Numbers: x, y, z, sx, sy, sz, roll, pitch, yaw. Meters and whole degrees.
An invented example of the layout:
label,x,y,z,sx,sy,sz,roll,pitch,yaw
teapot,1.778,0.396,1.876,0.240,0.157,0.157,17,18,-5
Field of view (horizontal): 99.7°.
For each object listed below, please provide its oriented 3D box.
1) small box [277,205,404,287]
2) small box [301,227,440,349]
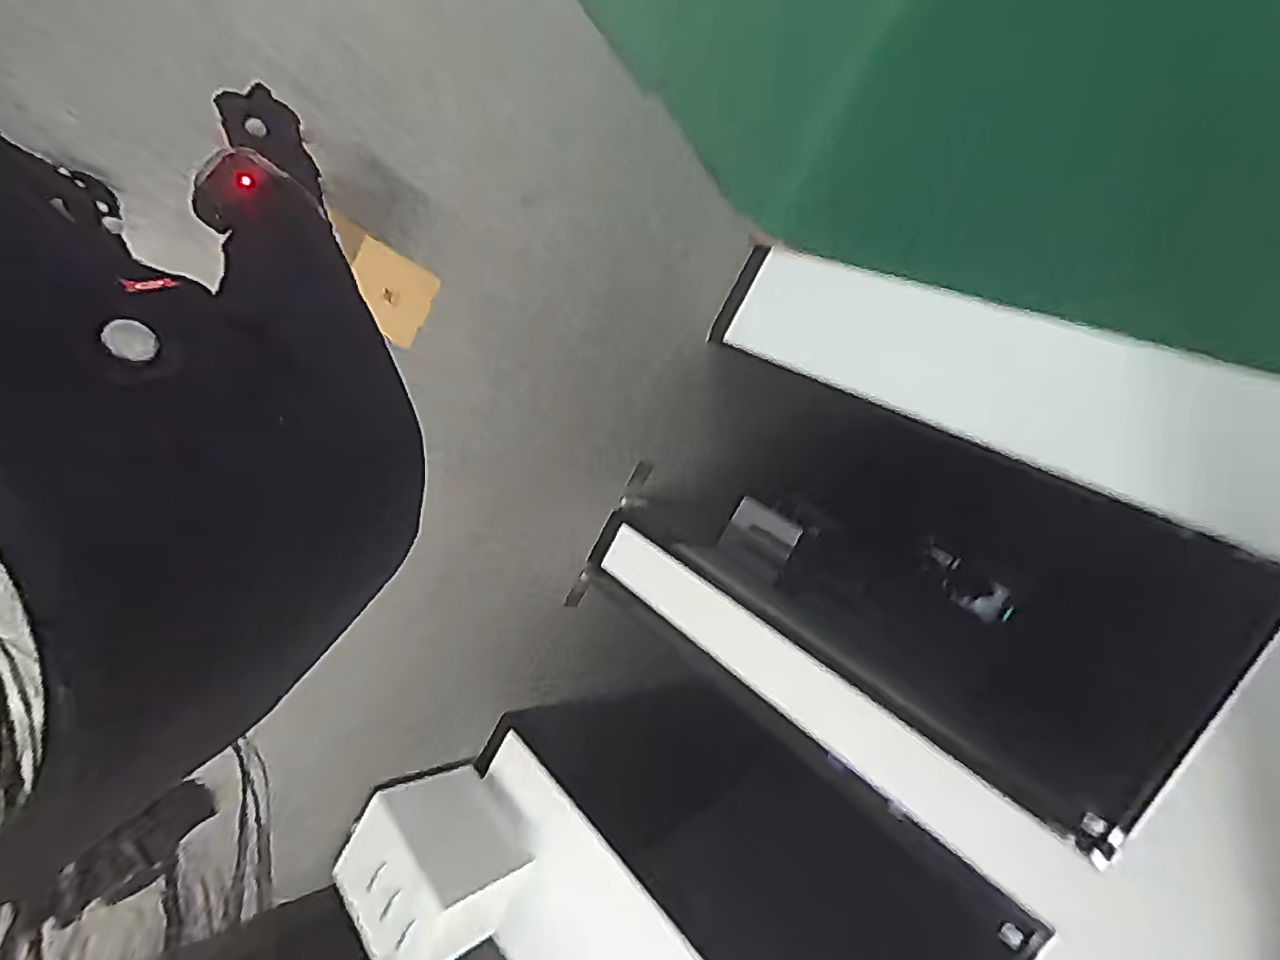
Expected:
label,x,y,z,sx,sy,sz,roll,pitch,yaw
small box,-0.679,-0.489,1.221,0.179,0.176,0.168,-60,147,4
small box,-0.568,-0.406,1.139,0.179,0.176,0.168,22,97,-56
